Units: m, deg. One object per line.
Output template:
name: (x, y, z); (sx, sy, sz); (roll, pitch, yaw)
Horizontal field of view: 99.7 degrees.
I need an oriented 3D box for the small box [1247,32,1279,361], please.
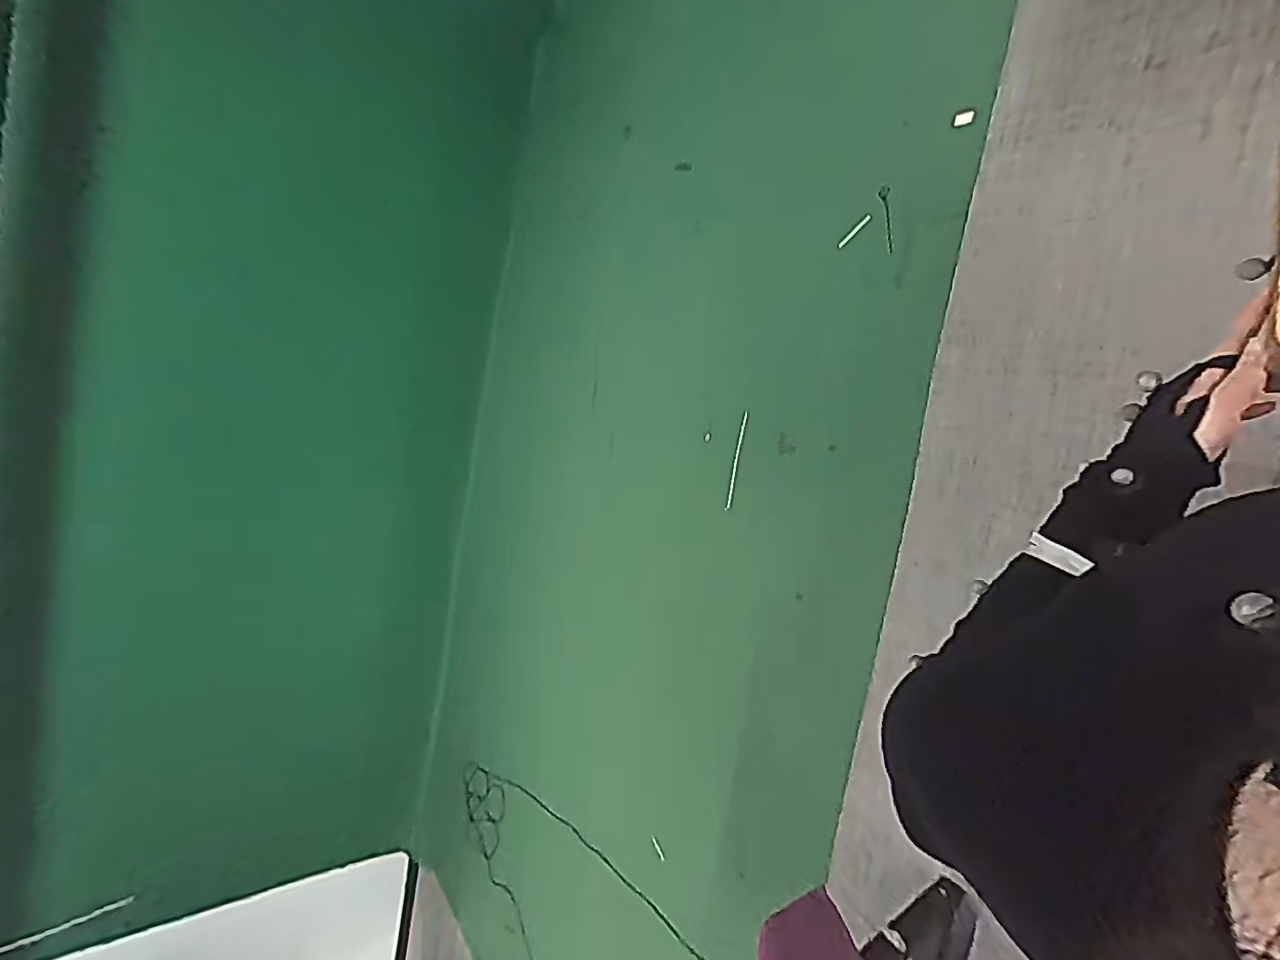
small box: (0.478, -0.168, 0.309); (0.168, 0.176, 0.179); (4, 91, 48)
